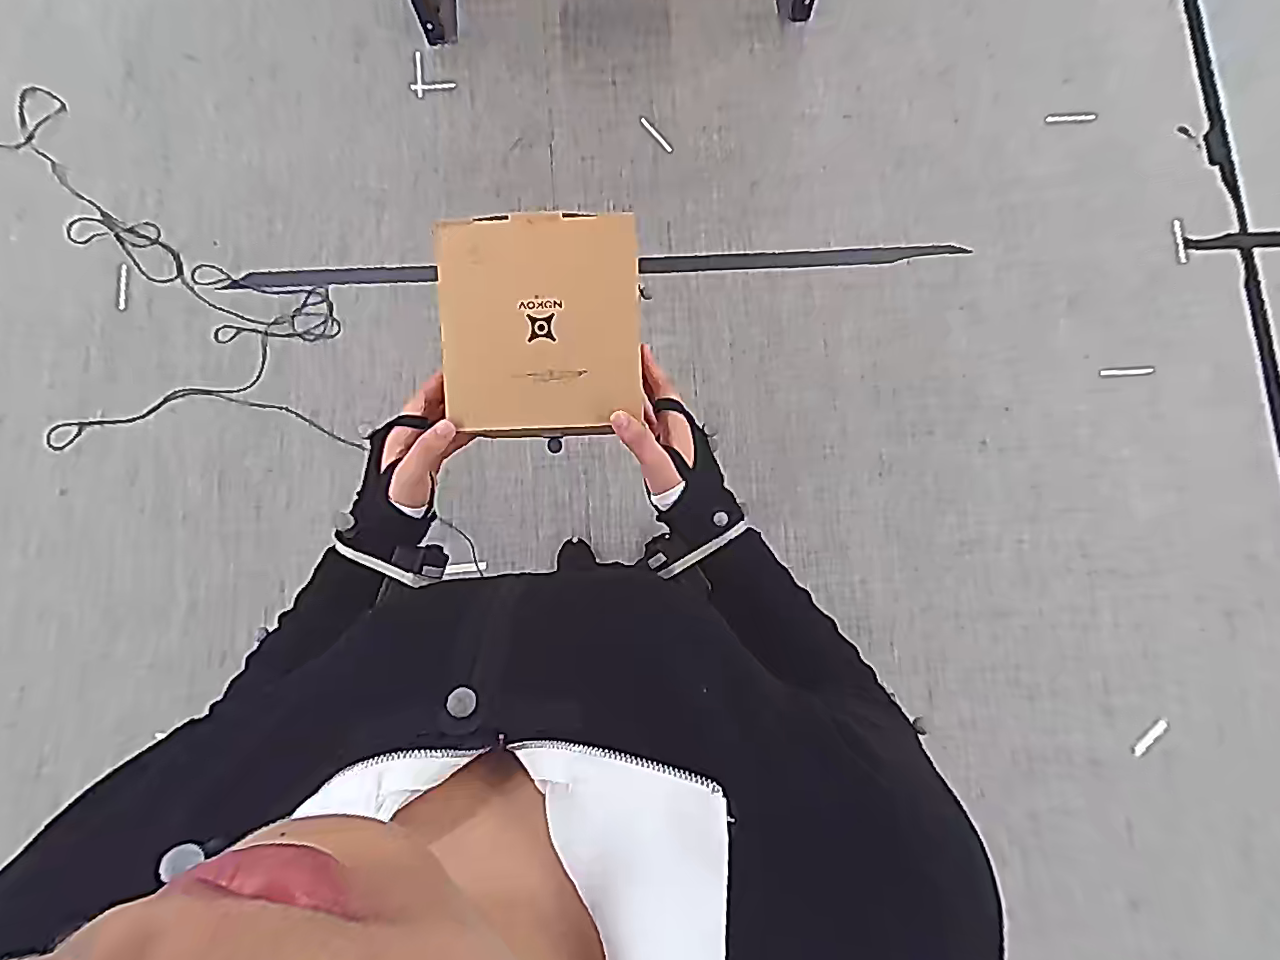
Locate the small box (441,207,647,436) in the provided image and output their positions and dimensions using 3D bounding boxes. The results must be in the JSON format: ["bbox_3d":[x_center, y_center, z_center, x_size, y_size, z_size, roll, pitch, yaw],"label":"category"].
[{"bbox_3d":[-0.080,-0.137,0.524,0.168,0.176,0.179,-2,92,0],"label":"small box"}]
